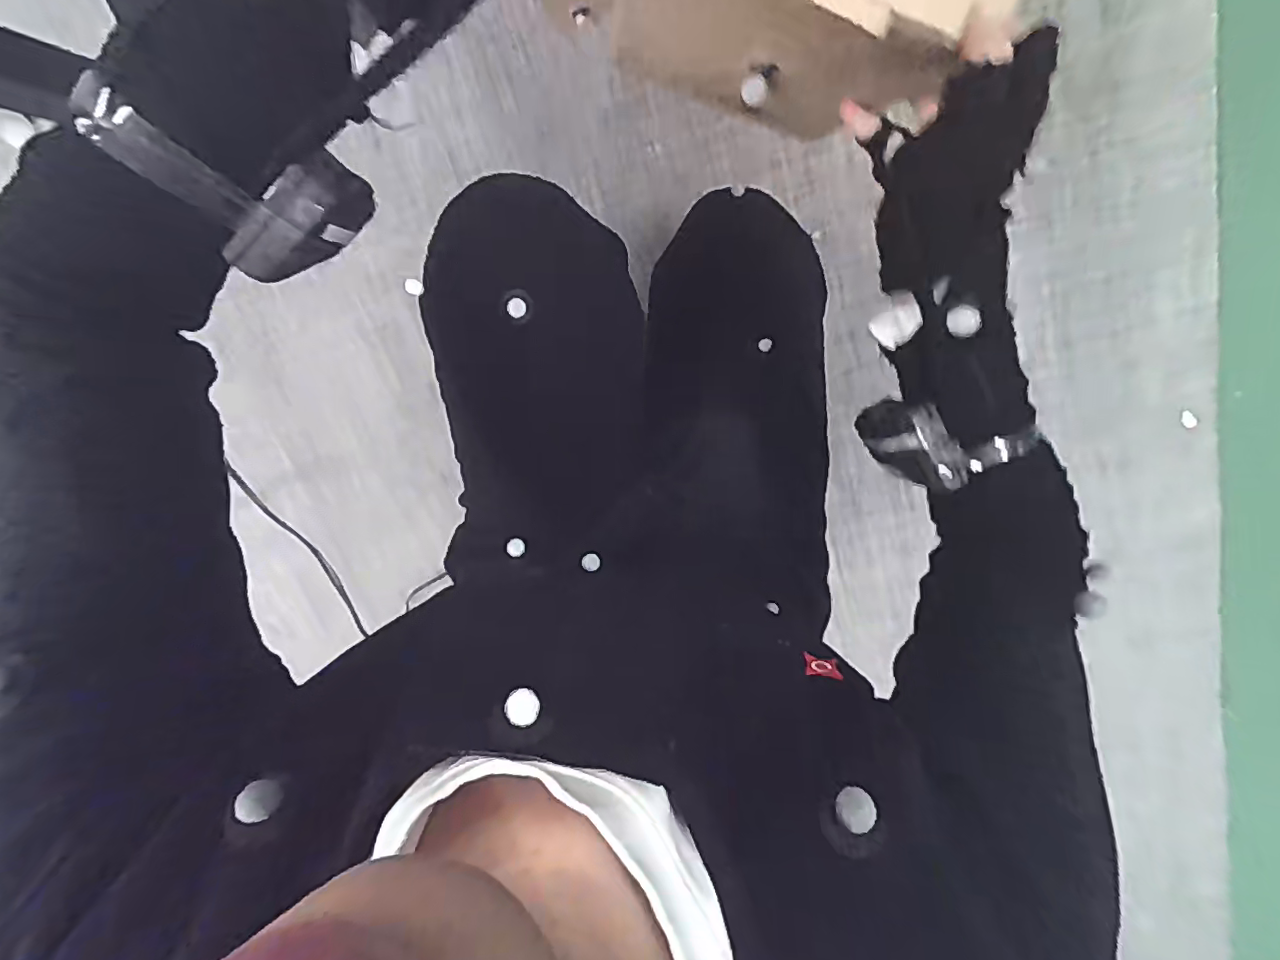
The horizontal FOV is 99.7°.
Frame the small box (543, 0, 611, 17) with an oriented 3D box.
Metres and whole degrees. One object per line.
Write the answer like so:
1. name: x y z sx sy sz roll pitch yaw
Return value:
1. small box: -0.058 -0.625 0.552 0.168 0.176 0.179 -13 106 12
